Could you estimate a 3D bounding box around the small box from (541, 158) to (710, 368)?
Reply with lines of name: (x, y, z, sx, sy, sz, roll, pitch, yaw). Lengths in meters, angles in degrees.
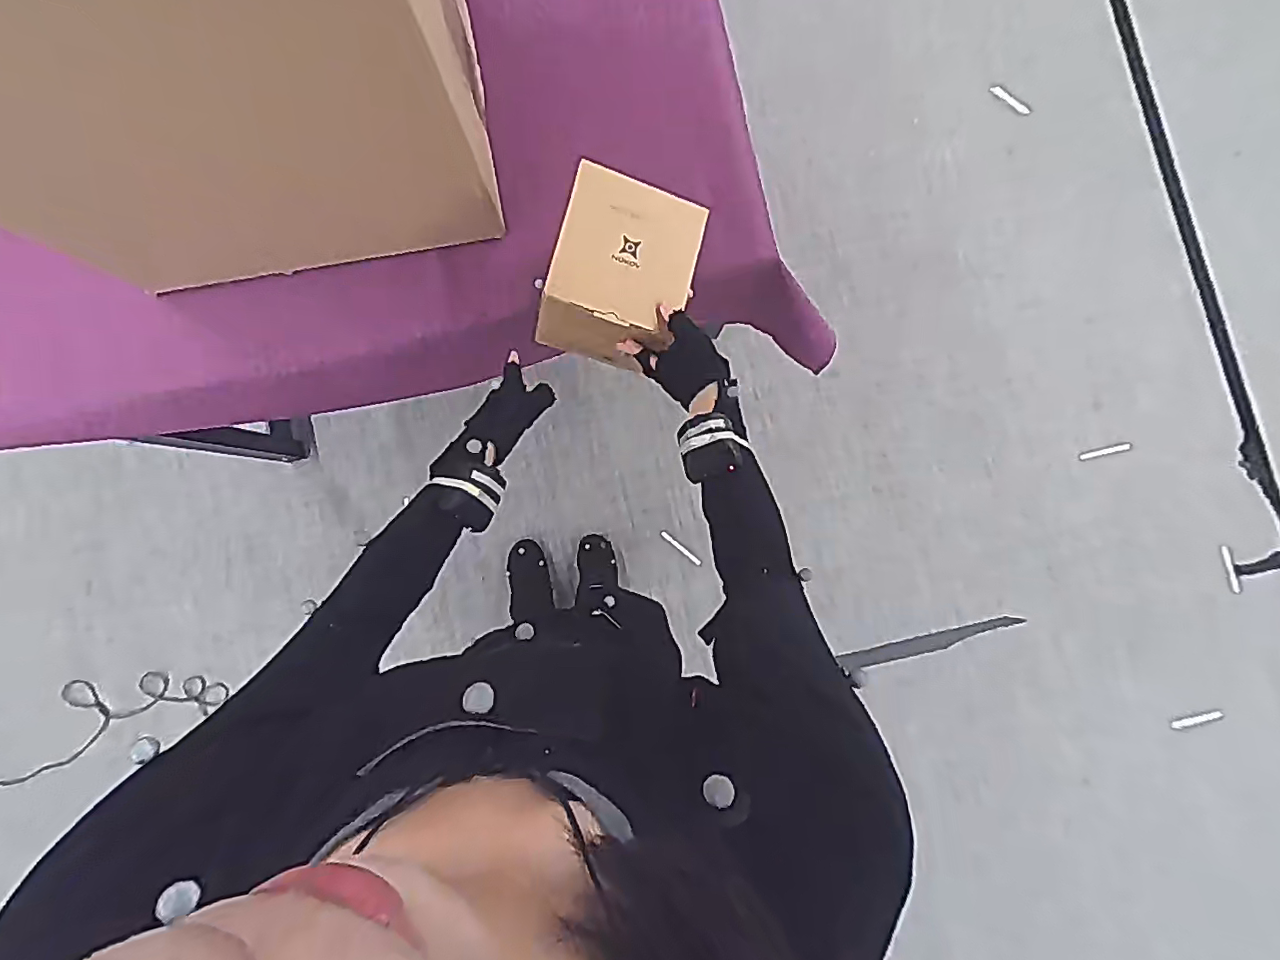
small box: (-0.029, -0.267, 0.713, 0.168, 0.176, 0.179, 16, 81, -13)
